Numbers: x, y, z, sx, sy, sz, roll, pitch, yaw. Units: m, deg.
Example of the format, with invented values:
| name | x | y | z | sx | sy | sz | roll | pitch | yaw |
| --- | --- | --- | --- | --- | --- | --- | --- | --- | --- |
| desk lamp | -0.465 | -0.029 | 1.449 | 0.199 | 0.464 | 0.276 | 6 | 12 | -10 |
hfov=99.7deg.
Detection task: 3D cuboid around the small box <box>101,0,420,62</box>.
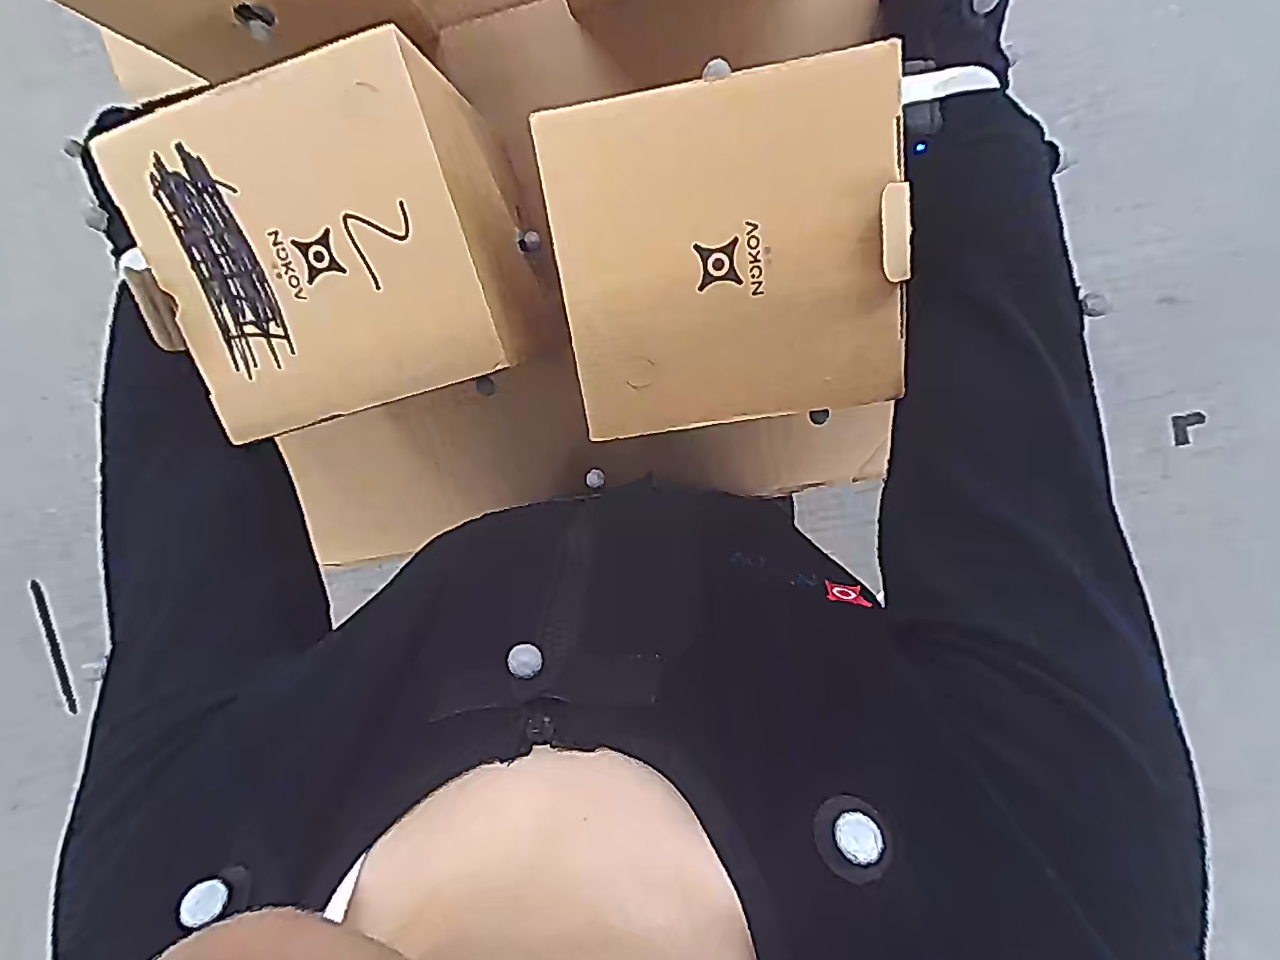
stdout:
| name | x | y | z | sx | sy | sz | roll | pitch | yaw |
| --- | --- | --- | --- | --- | --- | --- | --- | --- | --- |
| small box | -0.252 | -0.375 | 0.303 | 0.168 | 0.176 | 0.179 | -11 | 105 | 6 |
